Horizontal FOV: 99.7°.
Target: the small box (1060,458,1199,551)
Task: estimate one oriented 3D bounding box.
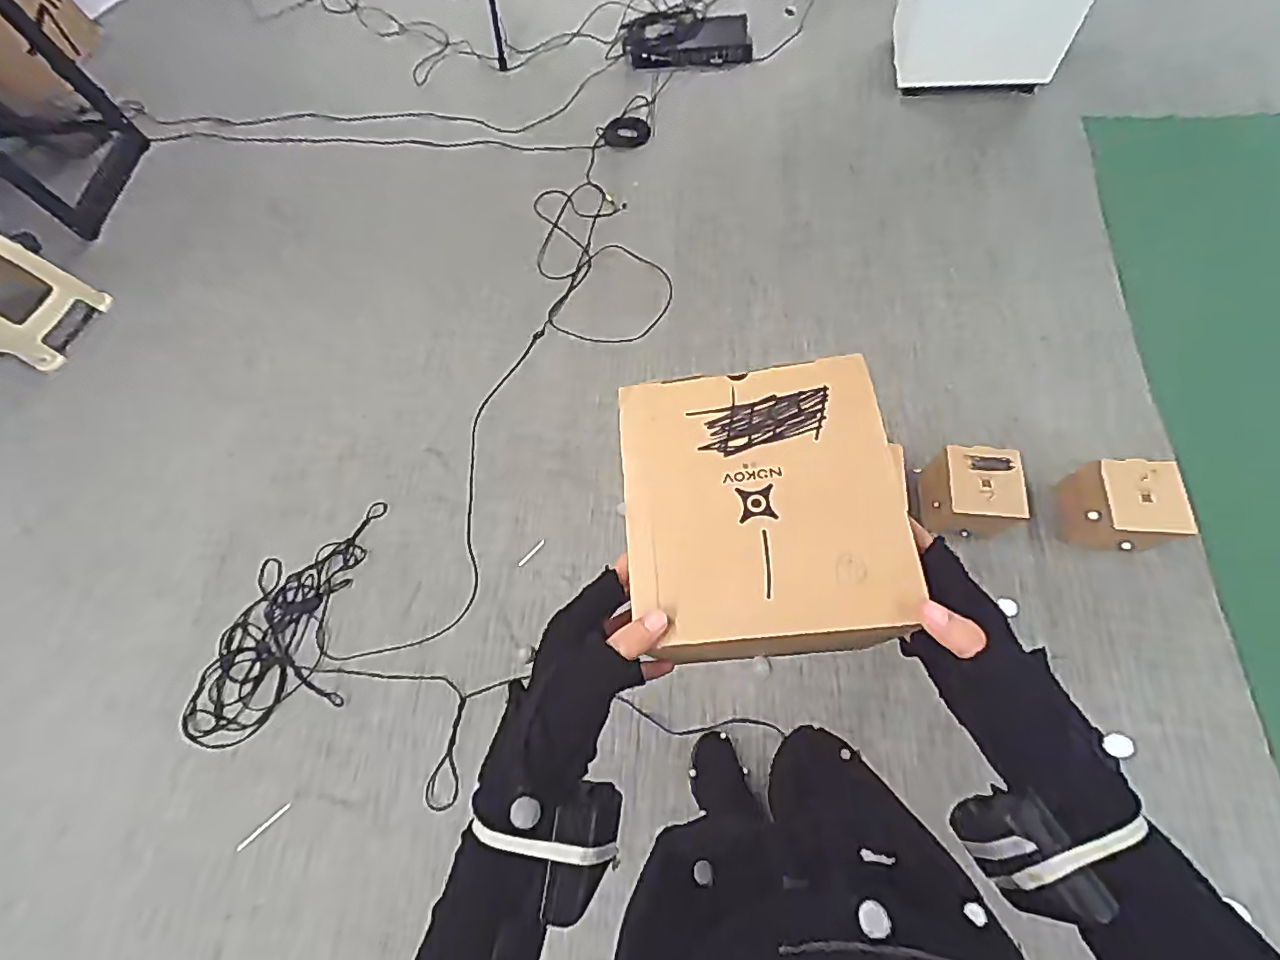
[{"bbox_3d":[1.143,0.064,1.281,0.168,0.176,0.179,3,68,7],"label":"small box"}]
